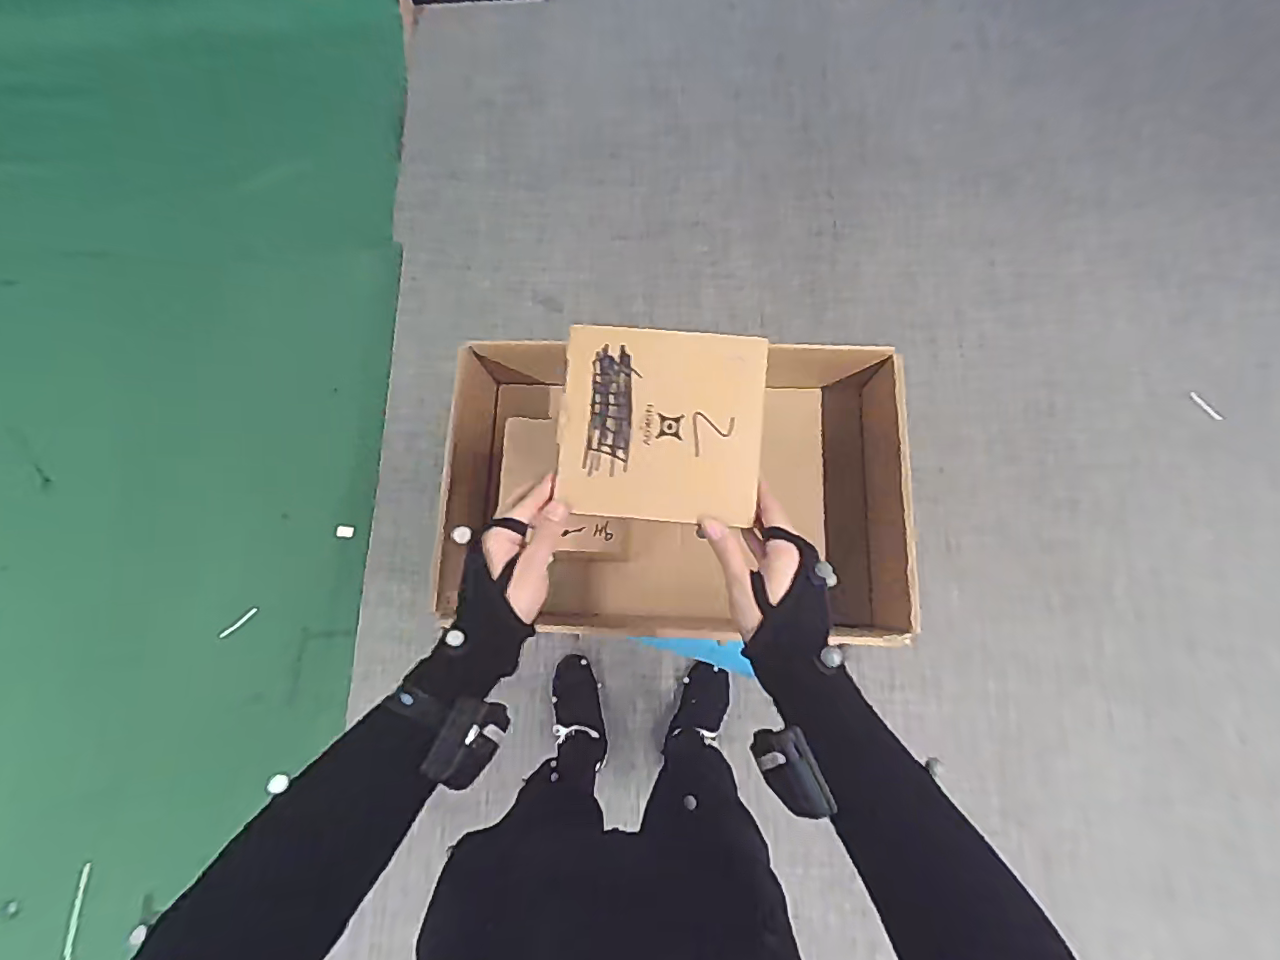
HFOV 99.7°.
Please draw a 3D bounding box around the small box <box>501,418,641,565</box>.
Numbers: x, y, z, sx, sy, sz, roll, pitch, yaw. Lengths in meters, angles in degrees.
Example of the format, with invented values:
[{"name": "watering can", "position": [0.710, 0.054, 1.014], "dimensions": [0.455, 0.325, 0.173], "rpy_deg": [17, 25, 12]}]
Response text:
[{"name": "small box", "position": [-0.086, 0.023, 0.767], "dimensions": [0.168, 0.176, 0.179], "rpy_deg": [1, 77, 4]}]
